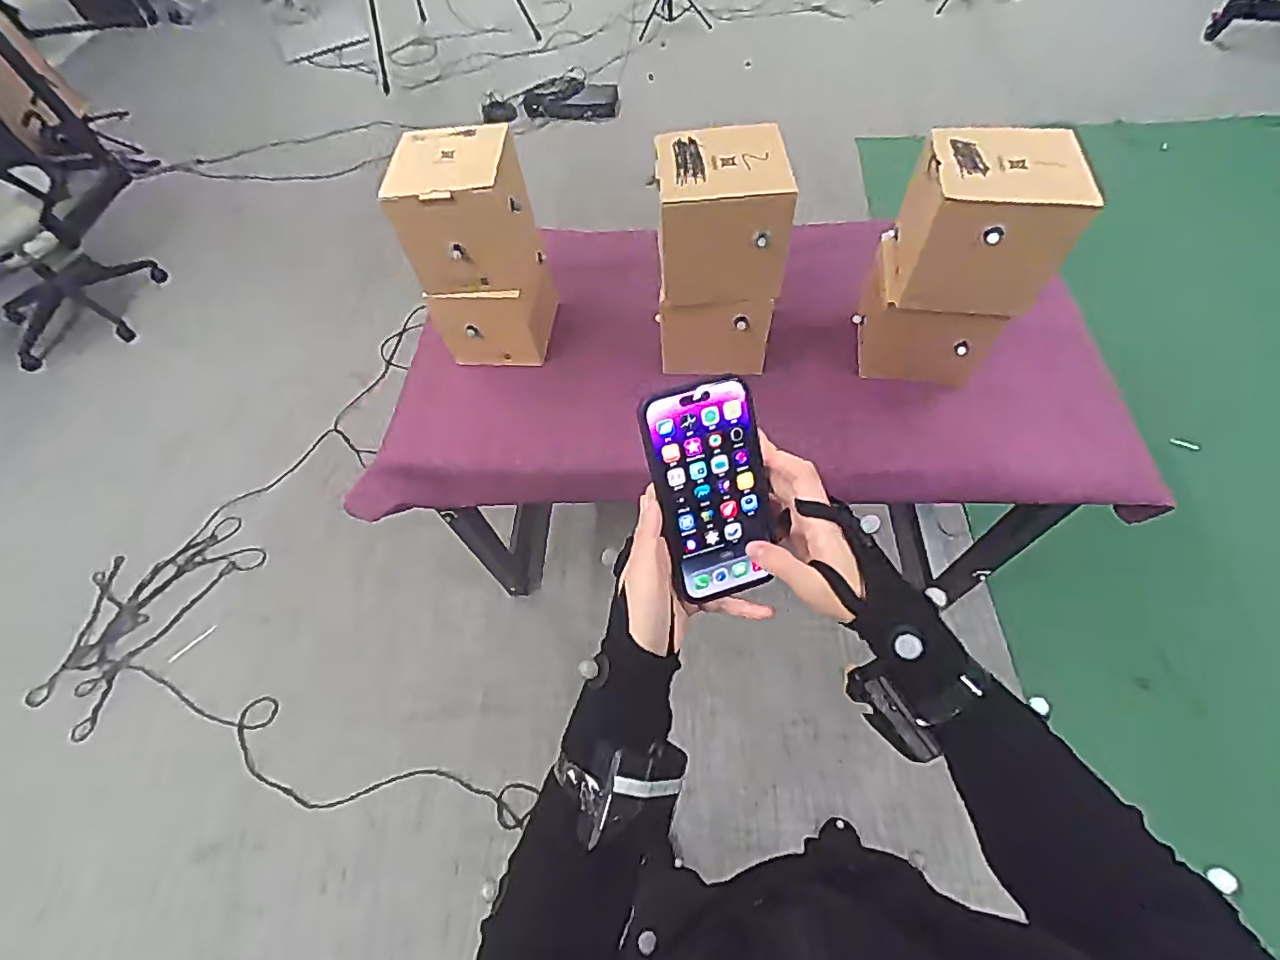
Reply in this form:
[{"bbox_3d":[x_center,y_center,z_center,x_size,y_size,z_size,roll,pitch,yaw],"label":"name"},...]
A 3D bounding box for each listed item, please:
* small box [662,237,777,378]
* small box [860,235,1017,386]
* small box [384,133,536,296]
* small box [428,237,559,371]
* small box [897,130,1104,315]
[{"bbox_3d":[0.133,-0.290,0.927,0.179,0.176,0.168,1,58,7],"label":"small box"},{"bbox_3d":[0.471,-0.271,0.881,0.179,0.176,0.168,6,59,11],"label":"small box"},{"bbox_3d":[-0.268,-0.407,0.851,0.168,0.176,0.179,-3,59,4],"label":"small box"},{"bbox_3d":[-0.253,-0.314,0.985,0.168,0.176,0.179,2,59,7],"label":"small box"},{"bbox_3d":[0.462,-0.344,0.733,0.179,0.176,0.168,6,59,9],"label":"small box"}]
